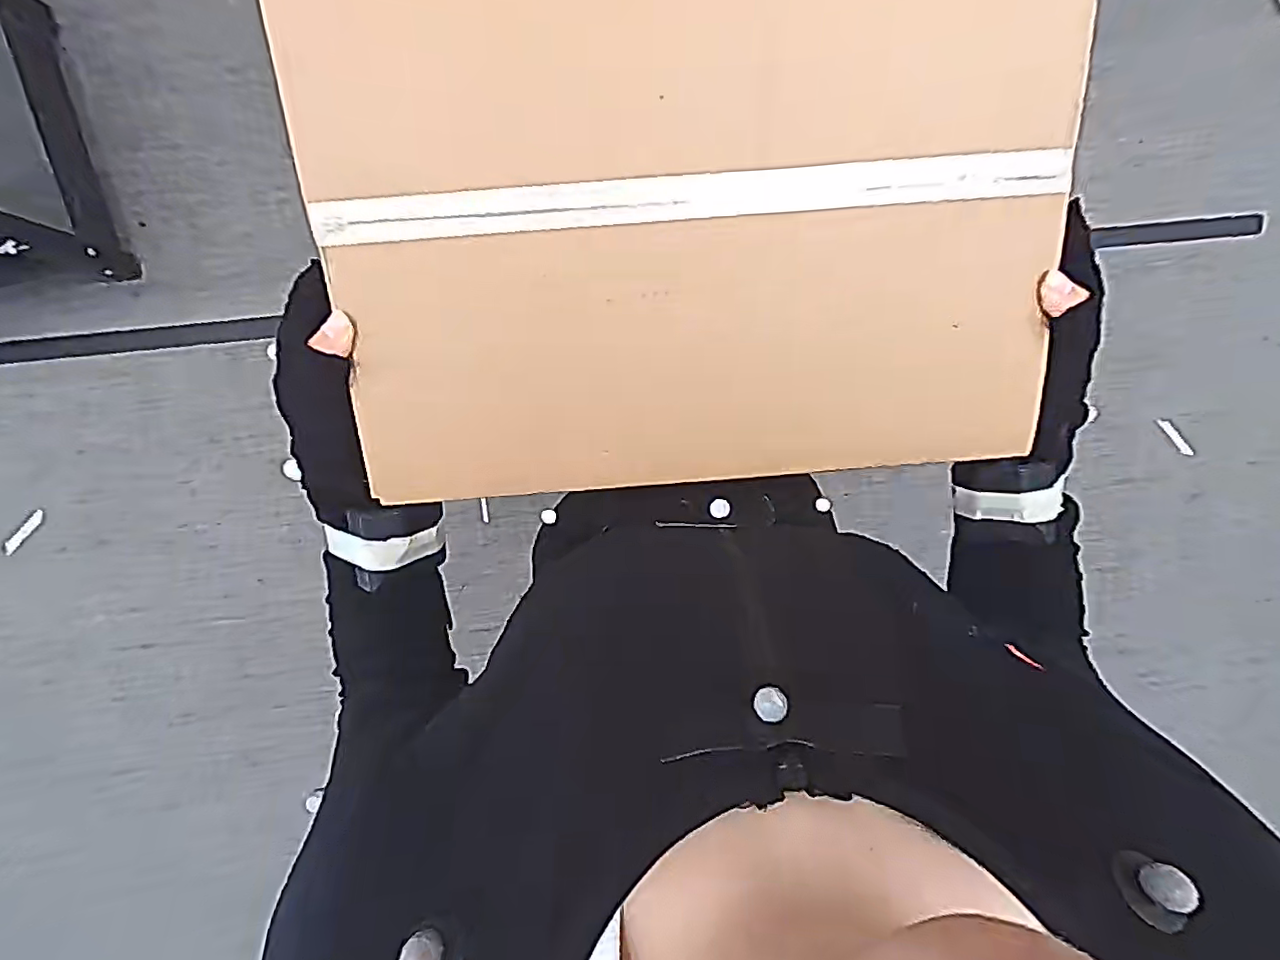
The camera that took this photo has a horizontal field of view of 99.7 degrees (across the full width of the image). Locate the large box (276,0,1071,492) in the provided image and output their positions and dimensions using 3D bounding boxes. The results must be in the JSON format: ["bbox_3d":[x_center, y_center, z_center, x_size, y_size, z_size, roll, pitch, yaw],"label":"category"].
[{"bbox_3d":[0.019,-0.199,0.438,0.408,0.320,0.320,-5,108,-2],"label":"large box"}]
